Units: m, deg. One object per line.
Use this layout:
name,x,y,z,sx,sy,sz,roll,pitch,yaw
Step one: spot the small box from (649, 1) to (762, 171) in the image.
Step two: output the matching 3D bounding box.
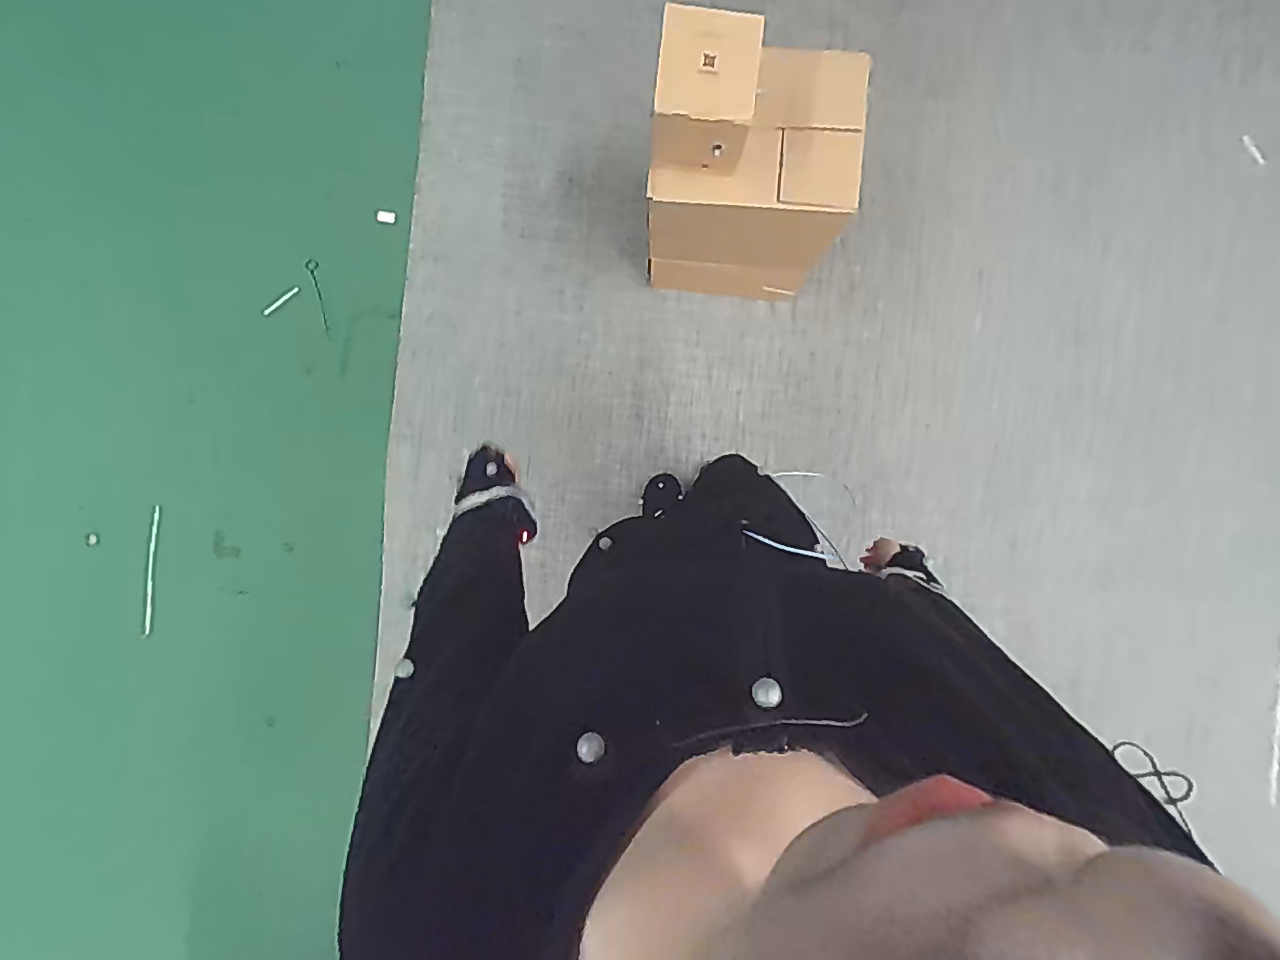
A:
small box,0.107,-0.678,0.952,0.168,0.176,0.179,6,92,-1
